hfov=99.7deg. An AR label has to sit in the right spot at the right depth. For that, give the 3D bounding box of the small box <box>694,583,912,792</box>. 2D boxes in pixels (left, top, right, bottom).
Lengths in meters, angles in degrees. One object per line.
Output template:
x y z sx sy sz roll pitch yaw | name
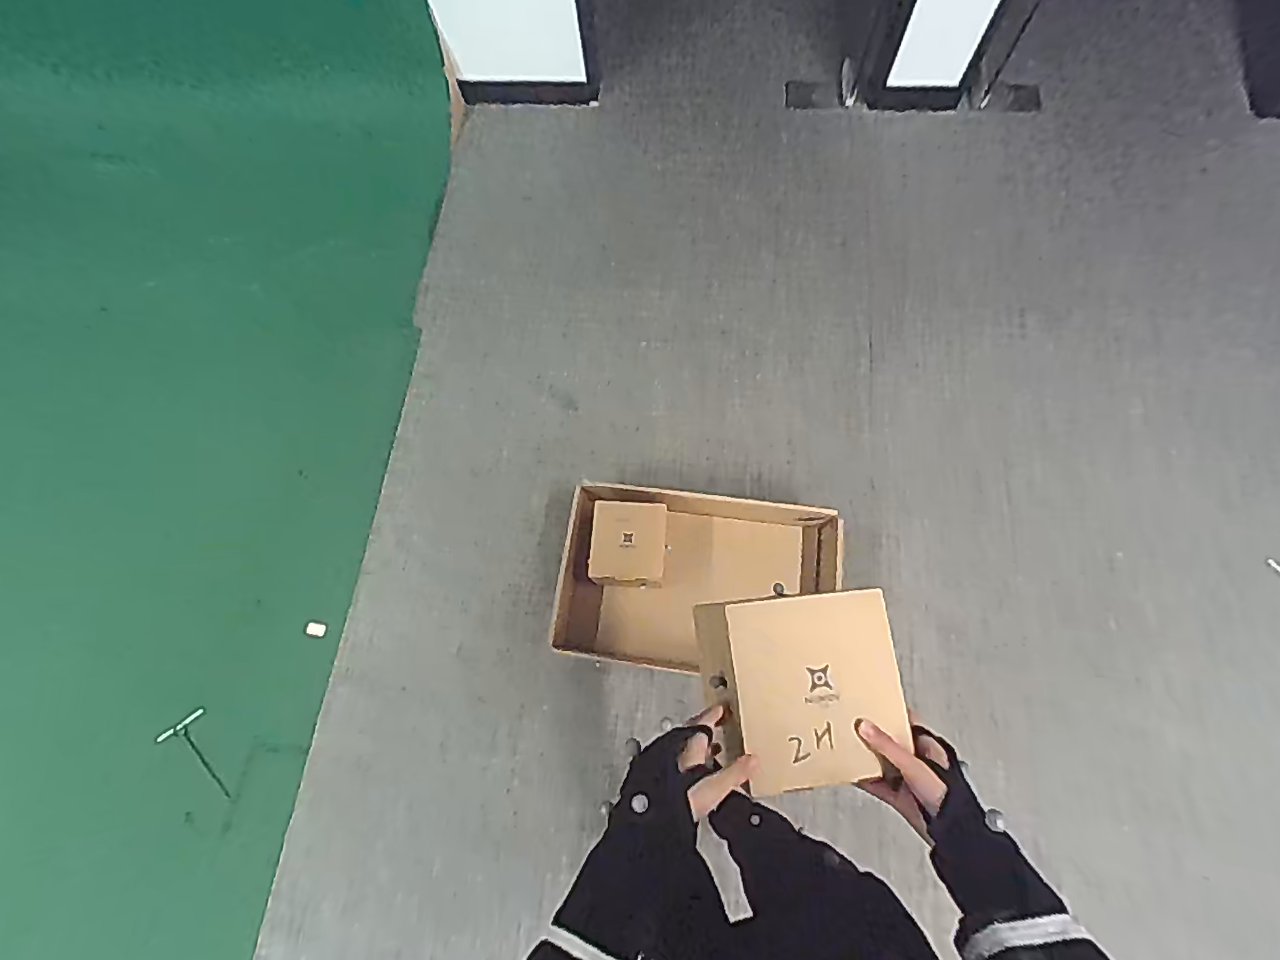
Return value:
0.159 0.213 0.593 0.168 0.176 0.179 -5 77 -5 | small box

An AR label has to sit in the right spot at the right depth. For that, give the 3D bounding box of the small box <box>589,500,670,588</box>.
-0.017 0.155 1.272 0.168 0.176 0.179 4 73 5 | small box
